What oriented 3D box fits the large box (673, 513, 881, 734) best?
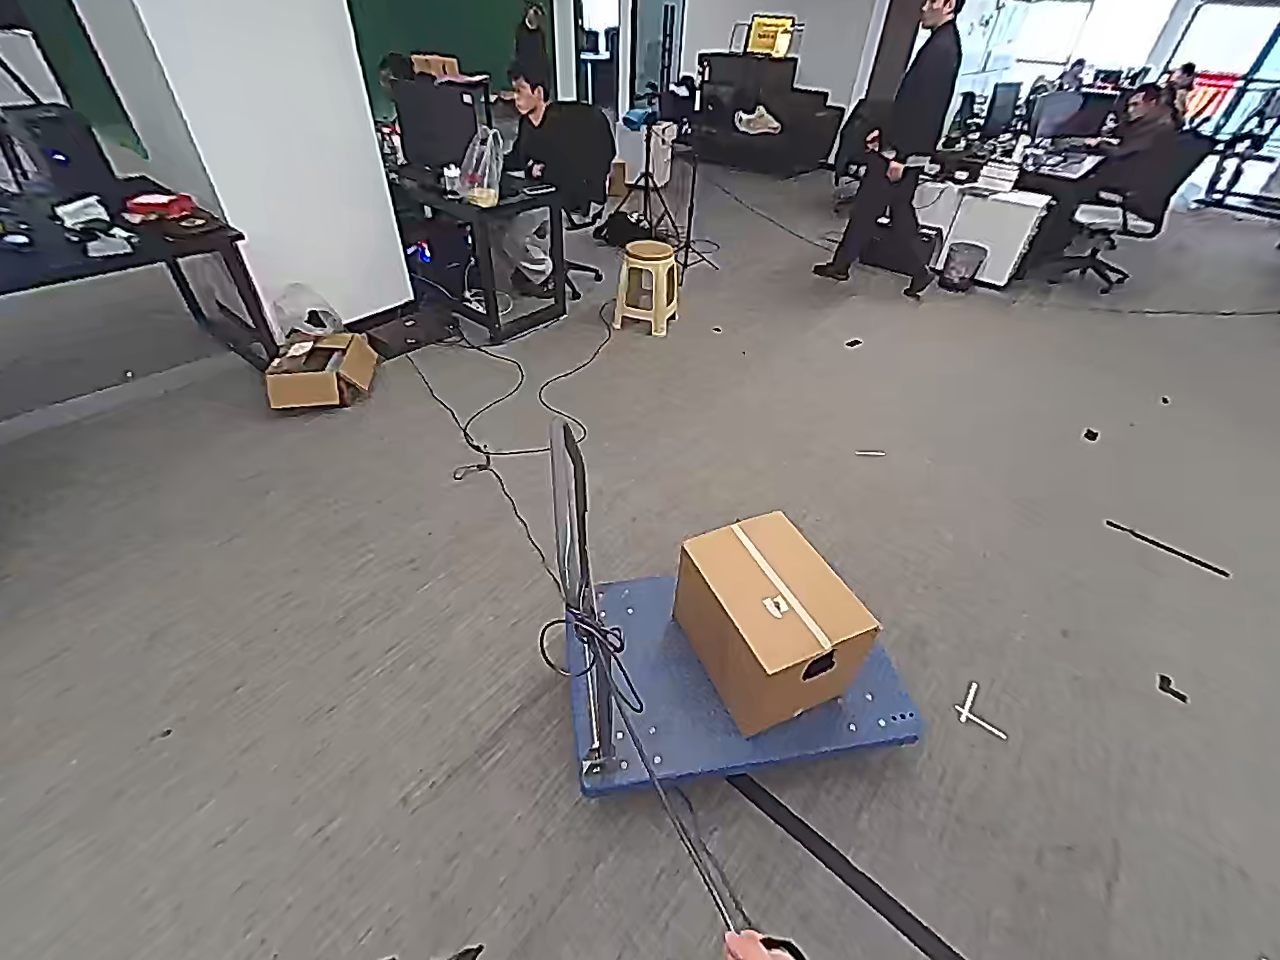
[{"bbox_3d":[0.318,0.356,1.398,0.320,0.320,0.408,-16,46,-19],"label":"large box"}]
